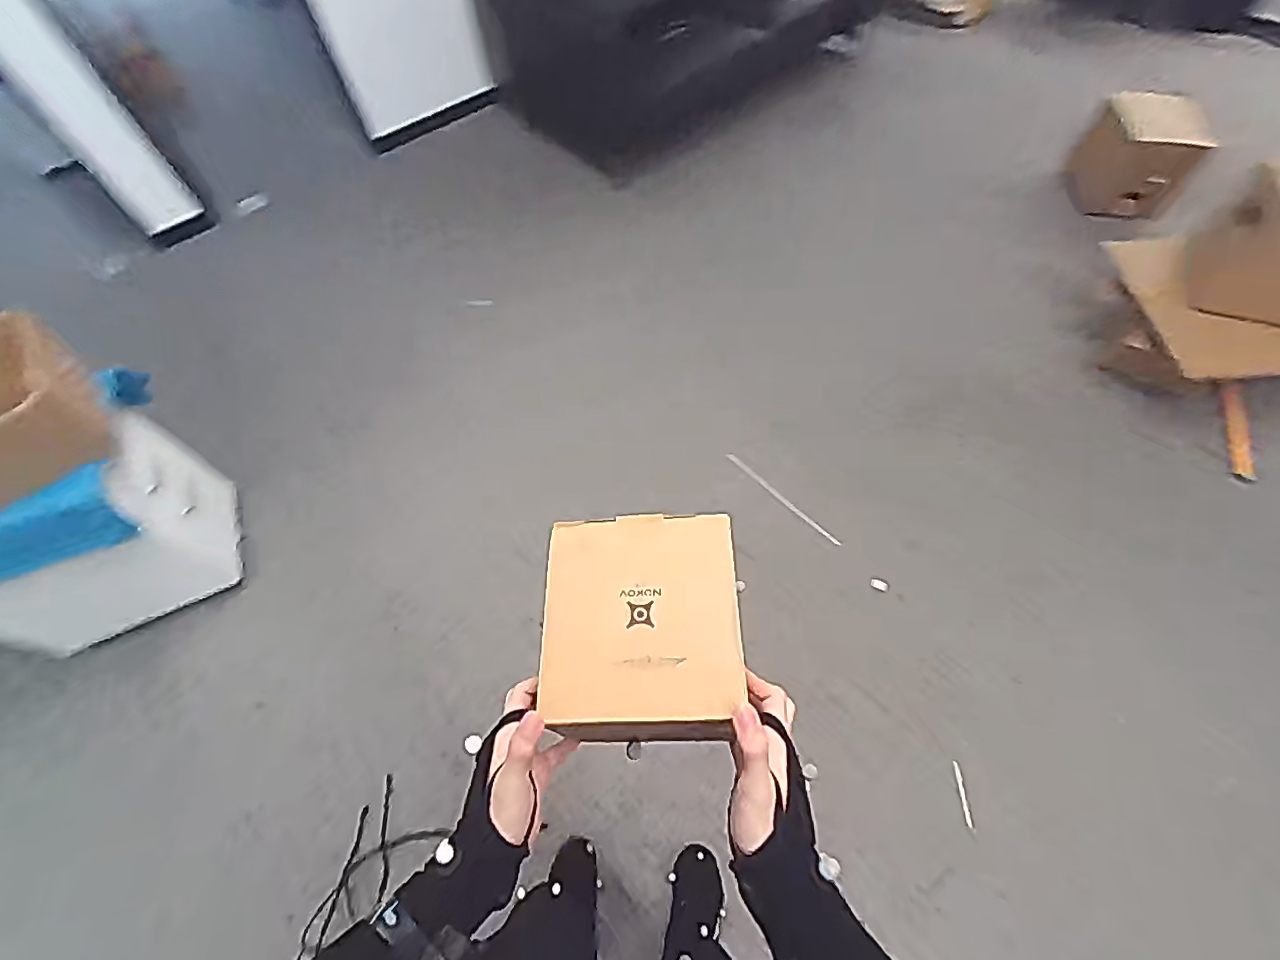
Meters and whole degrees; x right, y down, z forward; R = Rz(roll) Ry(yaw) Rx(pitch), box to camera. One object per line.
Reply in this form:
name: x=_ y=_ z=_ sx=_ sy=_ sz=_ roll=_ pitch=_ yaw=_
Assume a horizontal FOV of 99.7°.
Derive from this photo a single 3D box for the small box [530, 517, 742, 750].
small box: x=0.002 y=0.153 z=0.522 sx=0.168 sy=0.176 sz=0.179 roll=-4 pitch=58 yaw=4
